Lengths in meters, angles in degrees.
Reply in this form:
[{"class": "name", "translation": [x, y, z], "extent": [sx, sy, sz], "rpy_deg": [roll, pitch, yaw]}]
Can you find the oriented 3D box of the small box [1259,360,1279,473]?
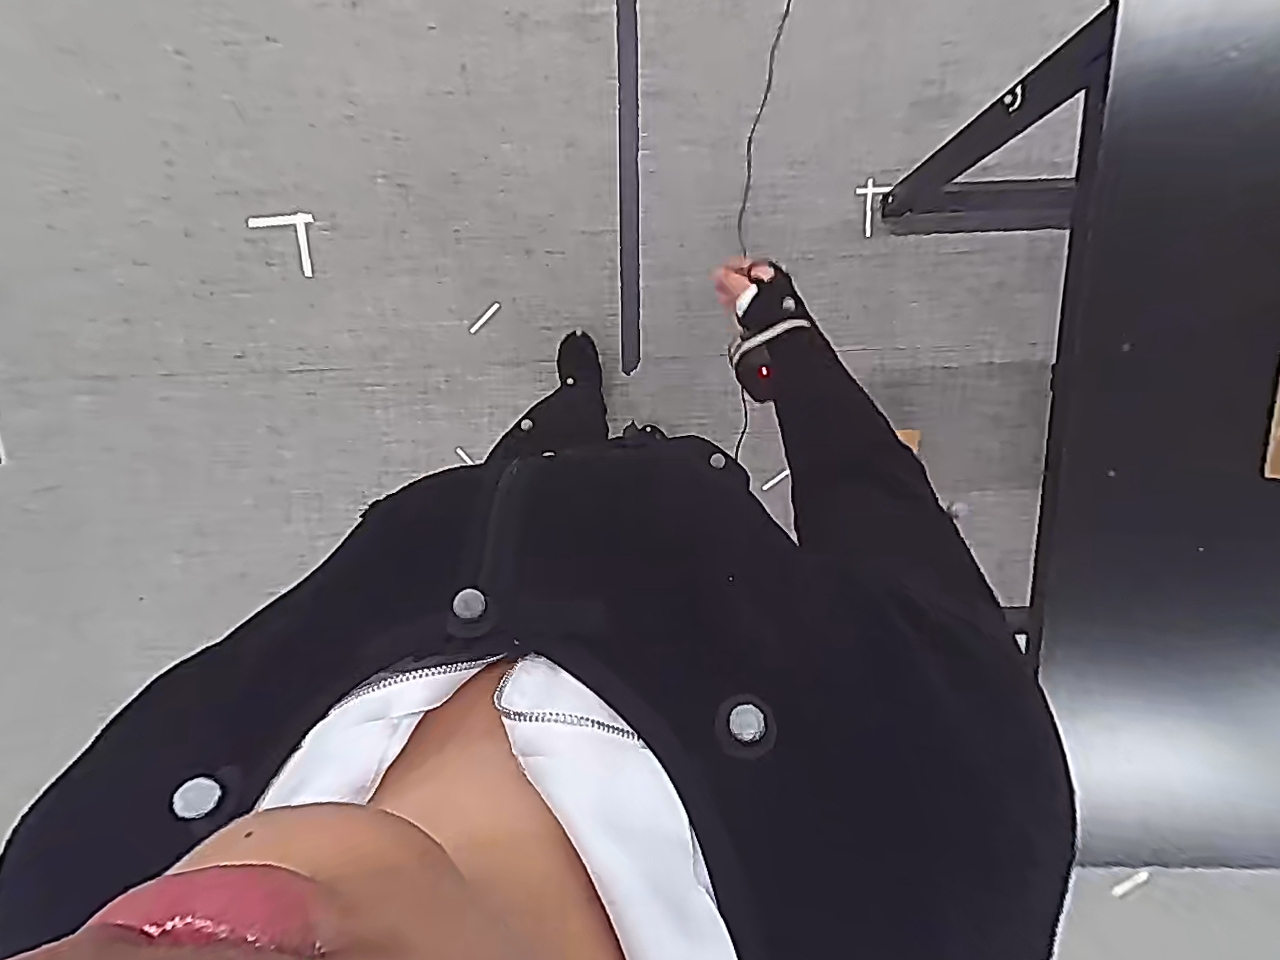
[{"class": "small box", "translation": [0.903, -0.079, 0.621], "extent": [0.179, 0.176, 0.168], "rpy_deg": [-2, 100, 4]}]
